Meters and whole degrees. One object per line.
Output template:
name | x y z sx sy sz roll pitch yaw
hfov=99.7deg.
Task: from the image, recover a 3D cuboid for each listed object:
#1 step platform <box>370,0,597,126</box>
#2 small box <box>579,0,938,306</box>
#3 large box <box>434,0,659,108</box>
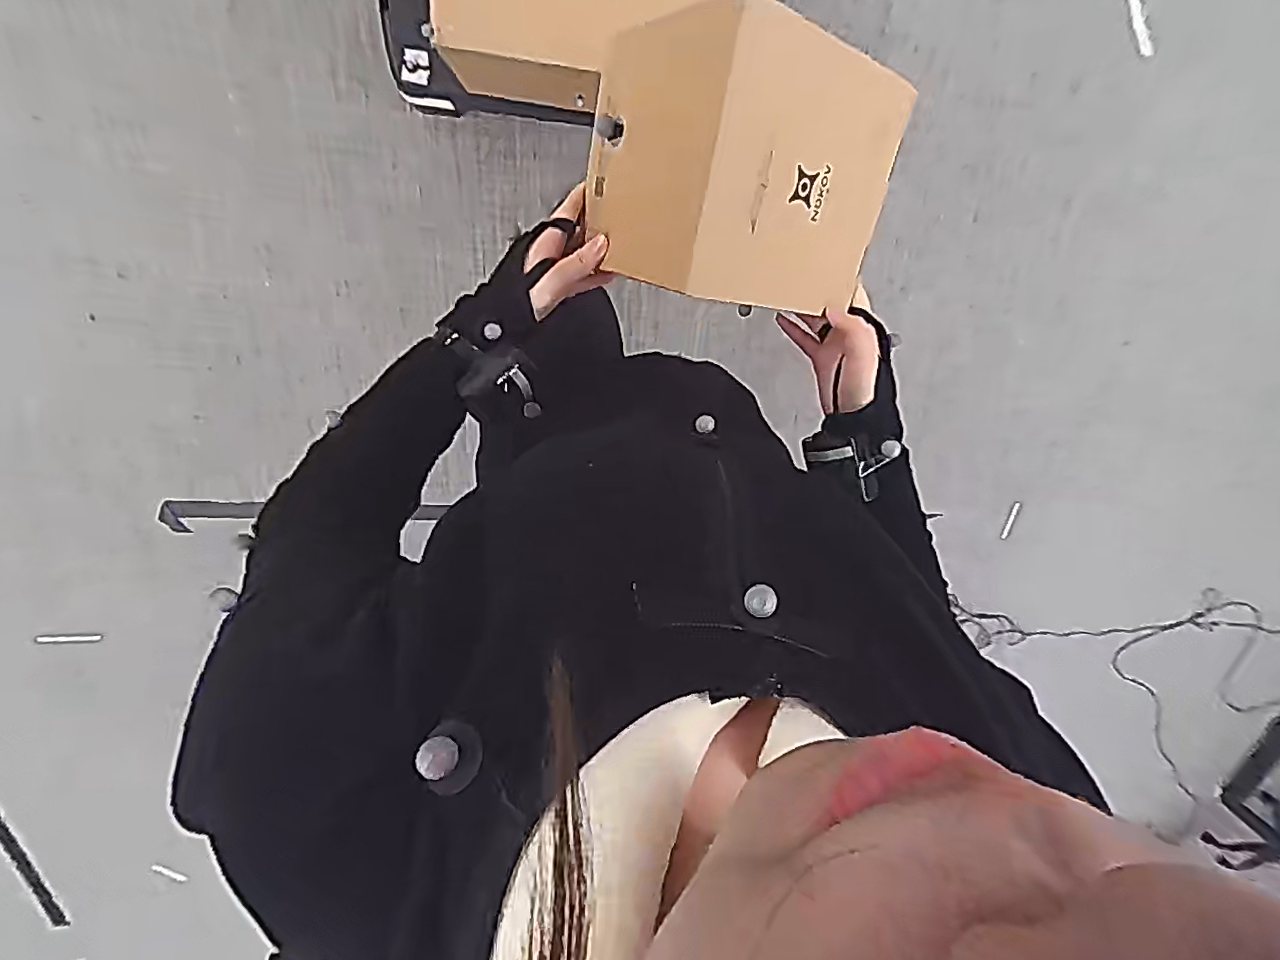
step platform | -0.136 -0.841 1.025 0.684 0.204 0.286 7 114 -11
small box | 0.077 -0.244 0.414 0.179 0.176 0.168 -4 118 -34
large box | -0.072 -0.762 0.805 0.408 0.320 0.320 2 114 -9
